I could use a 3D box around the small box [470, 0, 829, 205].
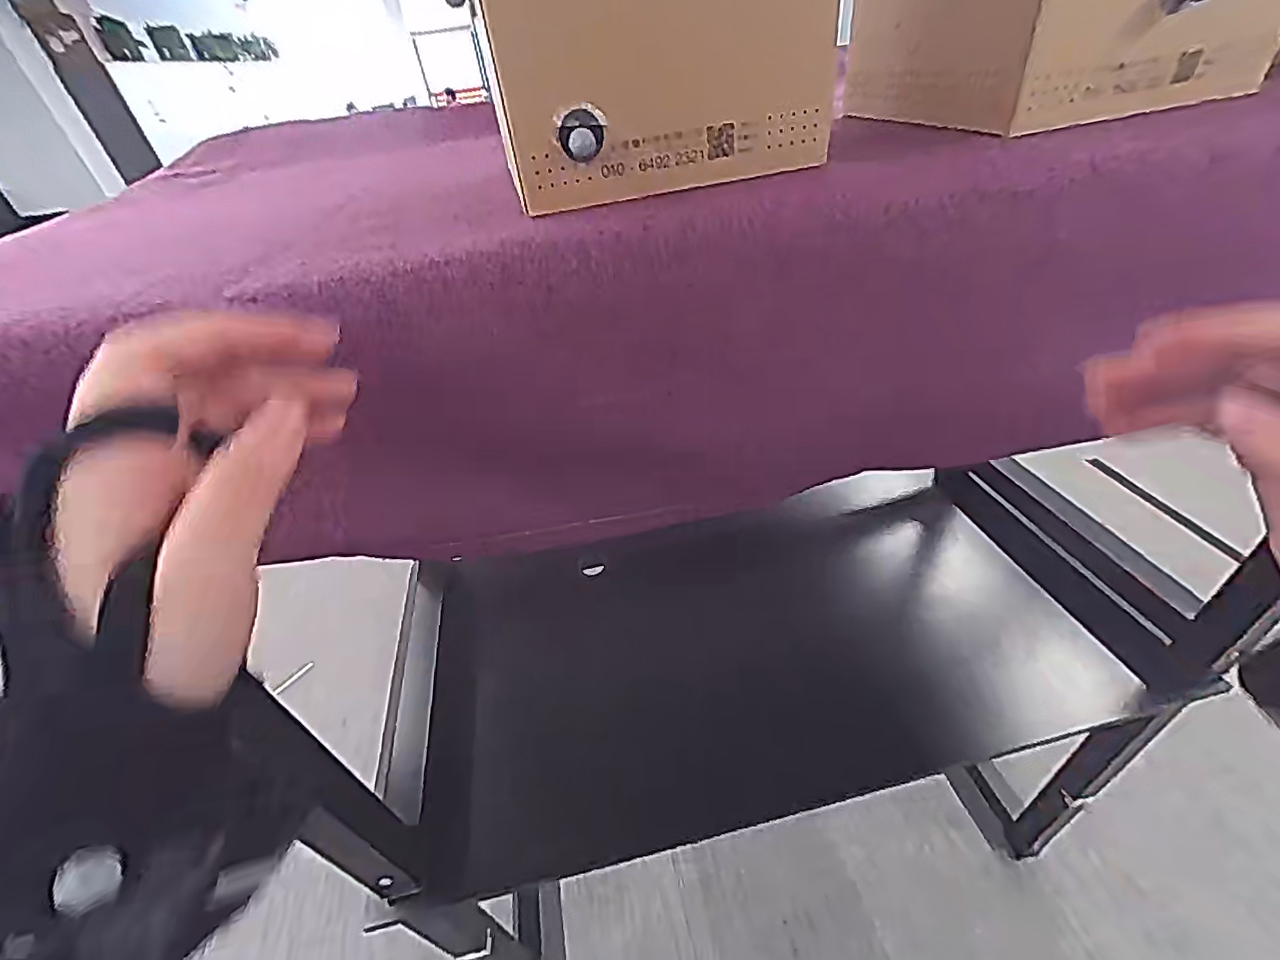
[{"bbox_3d":[-0.007,-0.261,0.293,0.168,0.176,0.179,-14,38,-7],"label":"small box"}]

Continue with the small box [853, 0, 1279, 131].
[{"bbox_3d":[0.247,-0.315,0.315,0.168,0.176,0.179,-14,39,-6],"label":"small box"}]
